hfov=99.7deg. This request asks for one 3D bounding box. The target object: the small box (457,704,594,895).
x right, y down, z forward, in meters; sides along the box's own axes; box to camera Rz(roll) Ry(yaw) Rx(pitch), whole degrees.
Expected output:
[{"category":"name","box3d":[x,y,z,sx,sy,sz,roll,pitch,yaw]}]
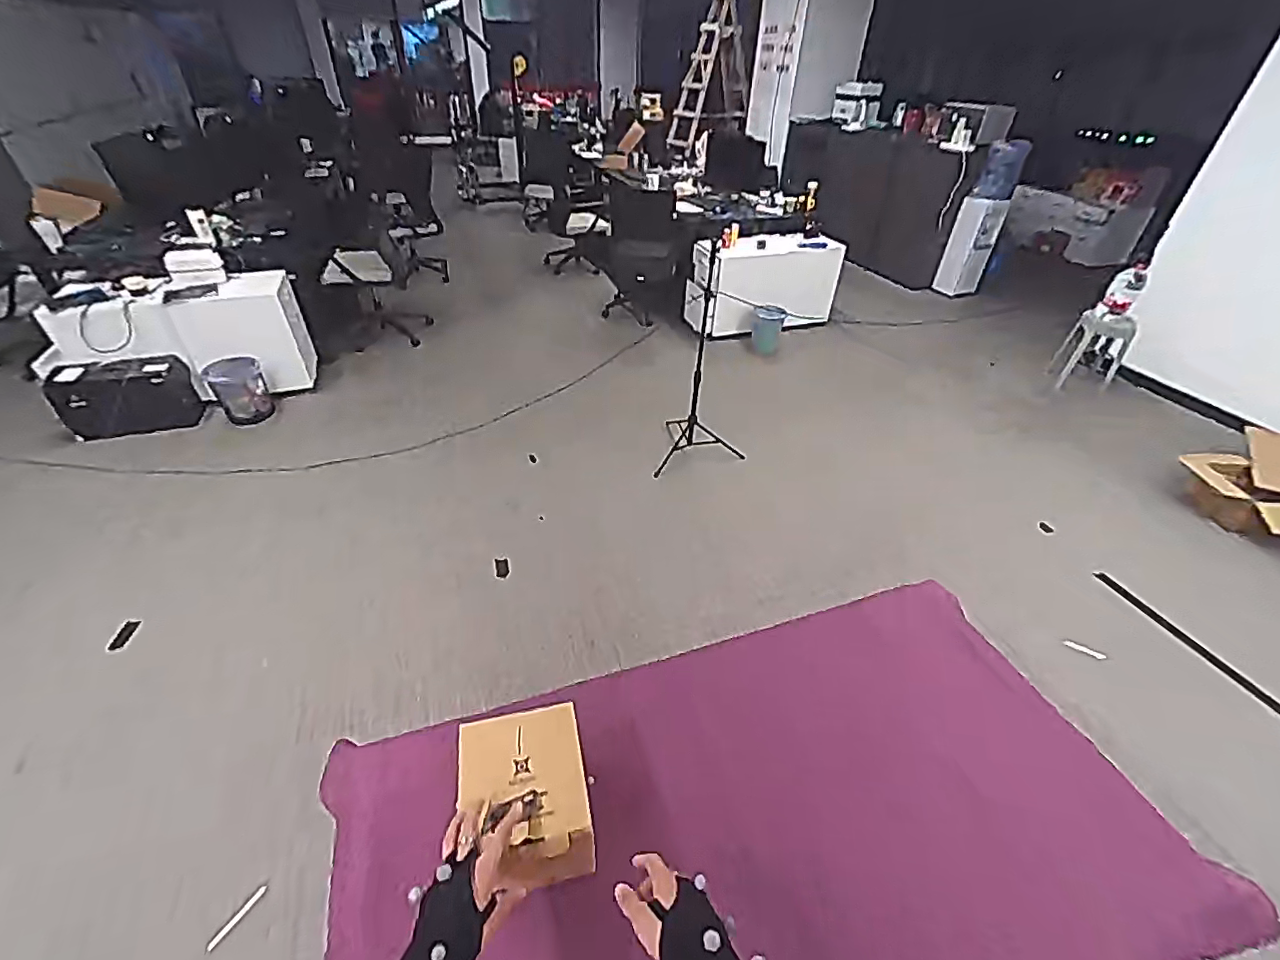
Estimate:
[{"category":"small box","box3d":[-0.159,0.455,0.767,0.168,0.176,0.179,-7,39,-12]}]
